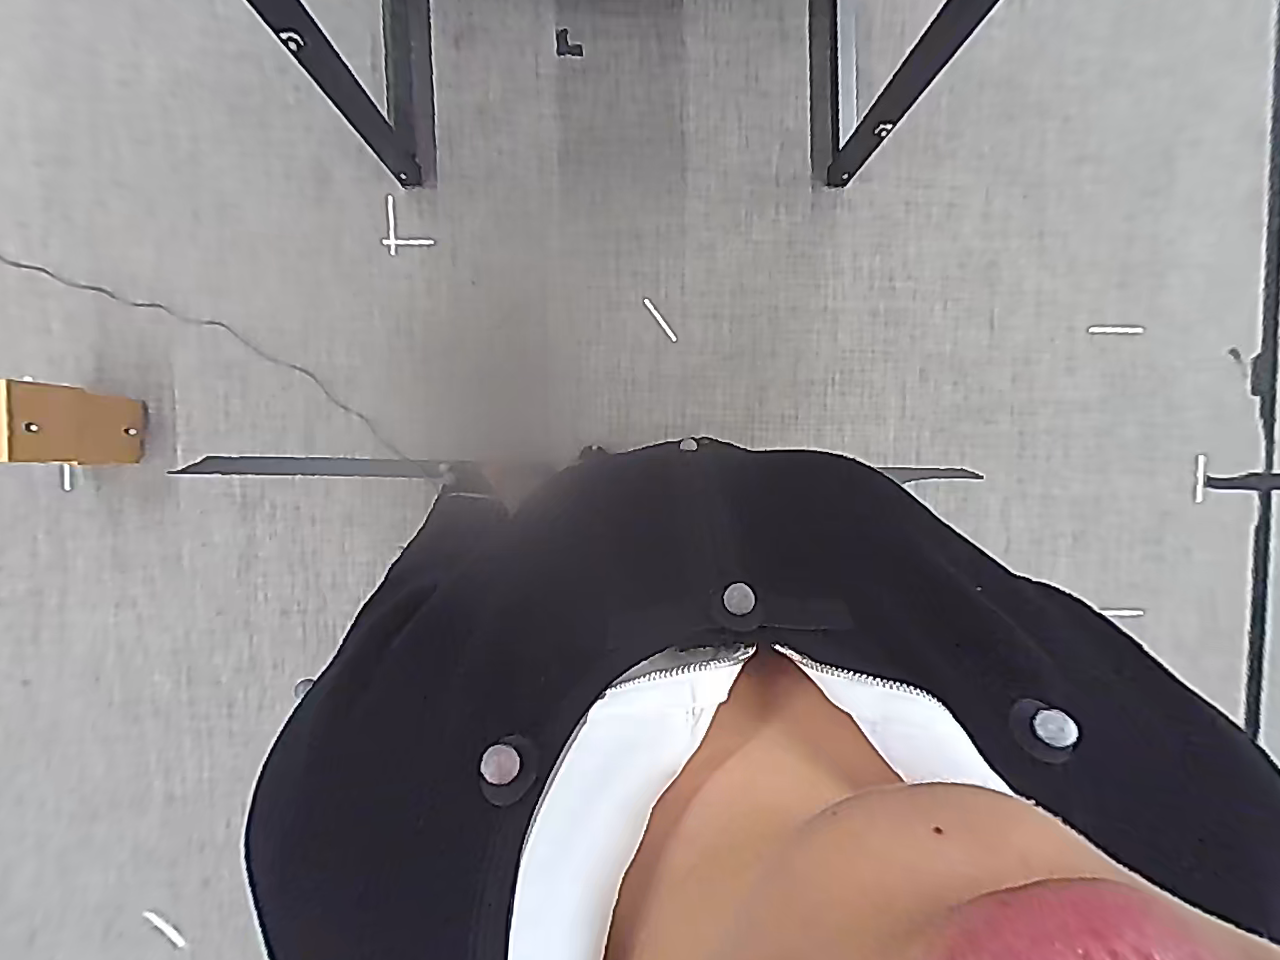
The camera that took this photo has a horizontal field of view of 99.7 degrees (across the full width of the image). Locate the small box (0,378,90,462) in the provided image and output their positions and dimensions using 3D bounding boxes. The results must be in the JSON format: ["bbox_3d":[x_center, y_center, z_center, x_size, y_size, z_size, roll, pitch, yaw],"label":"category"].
[{"bbox_3d":[-1.384,-0.132,1.201,0.168,0.176,0.179,1,93,-2],"label":"small box"}]

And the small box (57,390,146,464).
[{"bbox_3d":[-1.405,-0.138,1.365,0.168,0.176,0.179,7,92,-2],"label":"small box"}]
